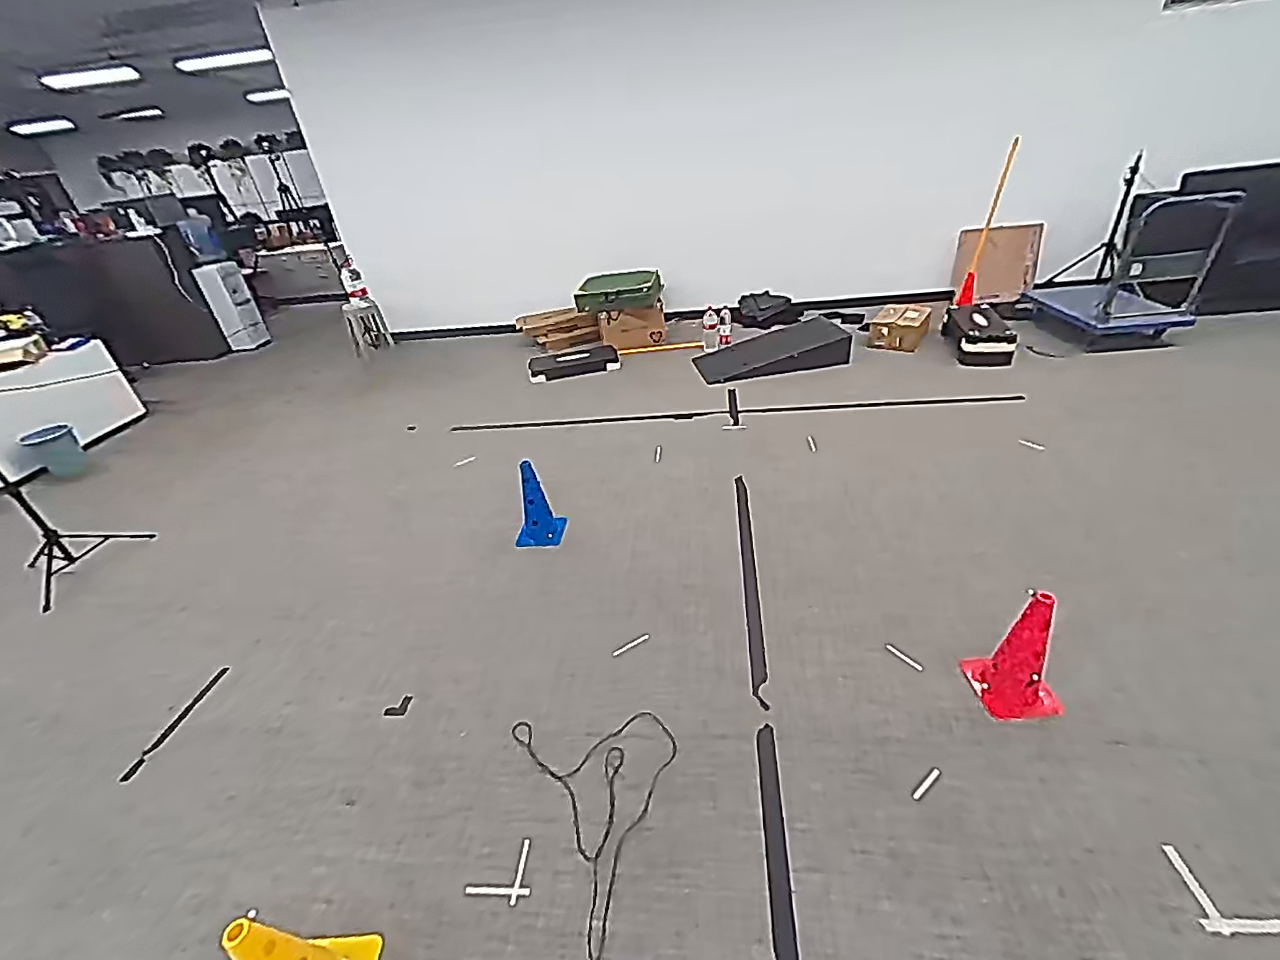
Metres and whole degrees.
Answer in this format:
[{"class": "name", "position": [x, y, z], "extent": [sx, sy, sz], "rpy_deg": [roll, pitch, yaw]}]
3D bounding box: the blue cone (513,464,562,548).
[{"class": "blue cone", "position": [-0.466, 0.097, 2.301], "extent": [0.192, 0.380, 0.193], "rpy_deg": [-3, 32, 9]}]

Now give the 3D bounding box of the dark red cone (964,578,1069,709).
[{"class": "dark red cone", "position": [1.037, 0.416, 1.442], "extent": [0.201, 0.394, 0.202], "rpy_deg": [-7, 32, 2]}]
